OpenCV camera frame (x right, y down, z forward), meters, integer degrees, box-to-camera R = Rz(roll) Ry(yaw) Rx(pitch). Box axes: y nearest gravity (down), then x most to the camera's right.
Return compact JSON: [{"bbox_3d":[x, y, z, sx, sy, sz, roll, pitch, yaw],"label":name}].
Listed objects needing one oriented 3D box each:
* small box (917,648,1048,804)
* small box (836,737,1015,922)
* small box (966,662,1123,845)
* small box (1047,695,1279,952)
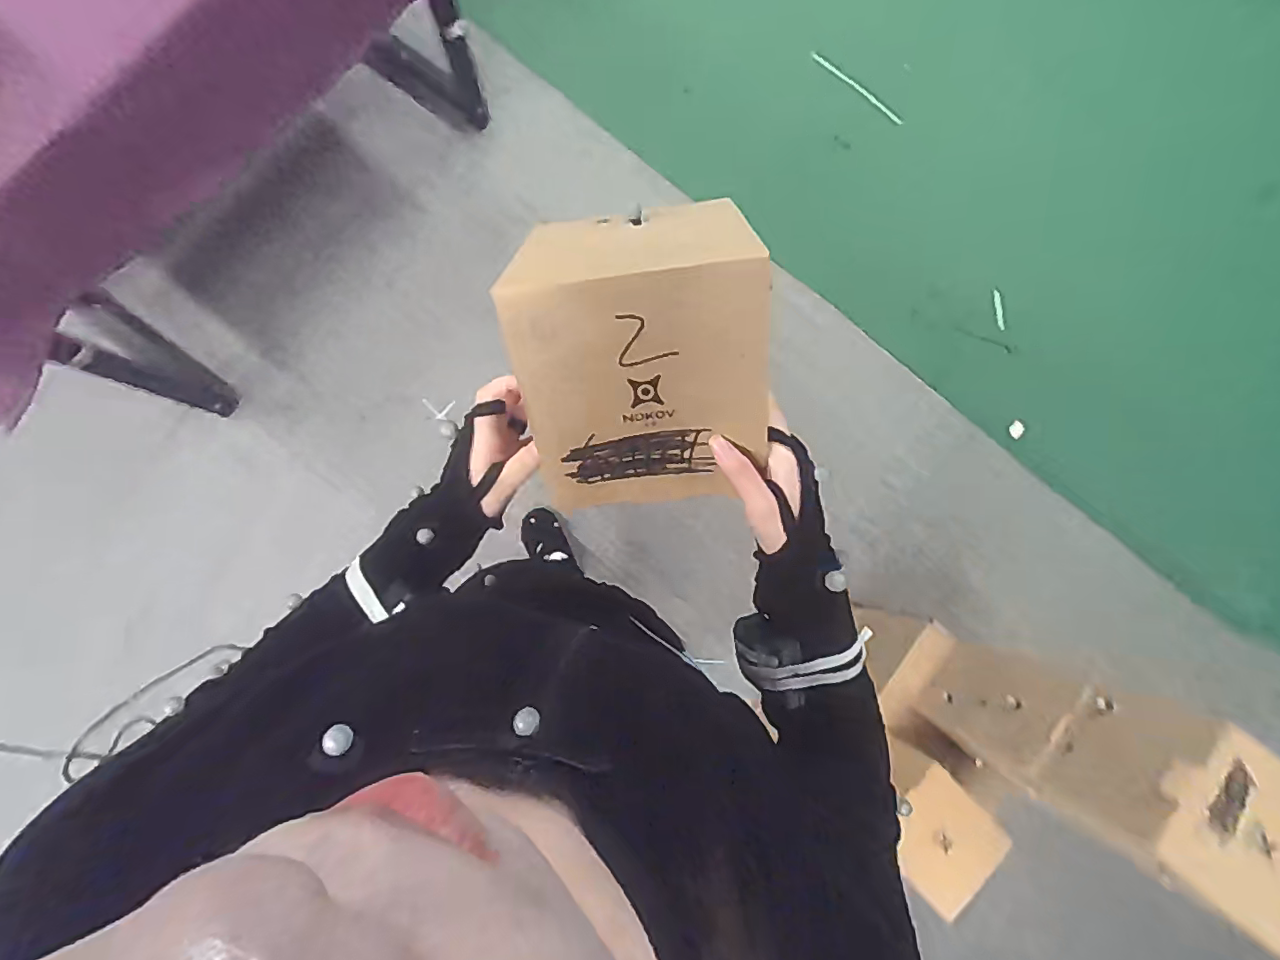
[{"bbox_3d":[0.645,0.423,0.971,0.179,0.176,0.168,41,85,3],"label":"small box"},{"bbox_3d":[0.482,0.588,0.939,0.168,0.176,0.179,-43,86,-8],"label":"small box"},{"bbox_3d":[0.642,0.395,0.809,0.179,0.176,0.168,40,85,4],"label":"small box"},{"bbox_3d":[0.650,0.384,0.644,0.179,0.176,0.168,40,85,2],"label":"small box"}]
